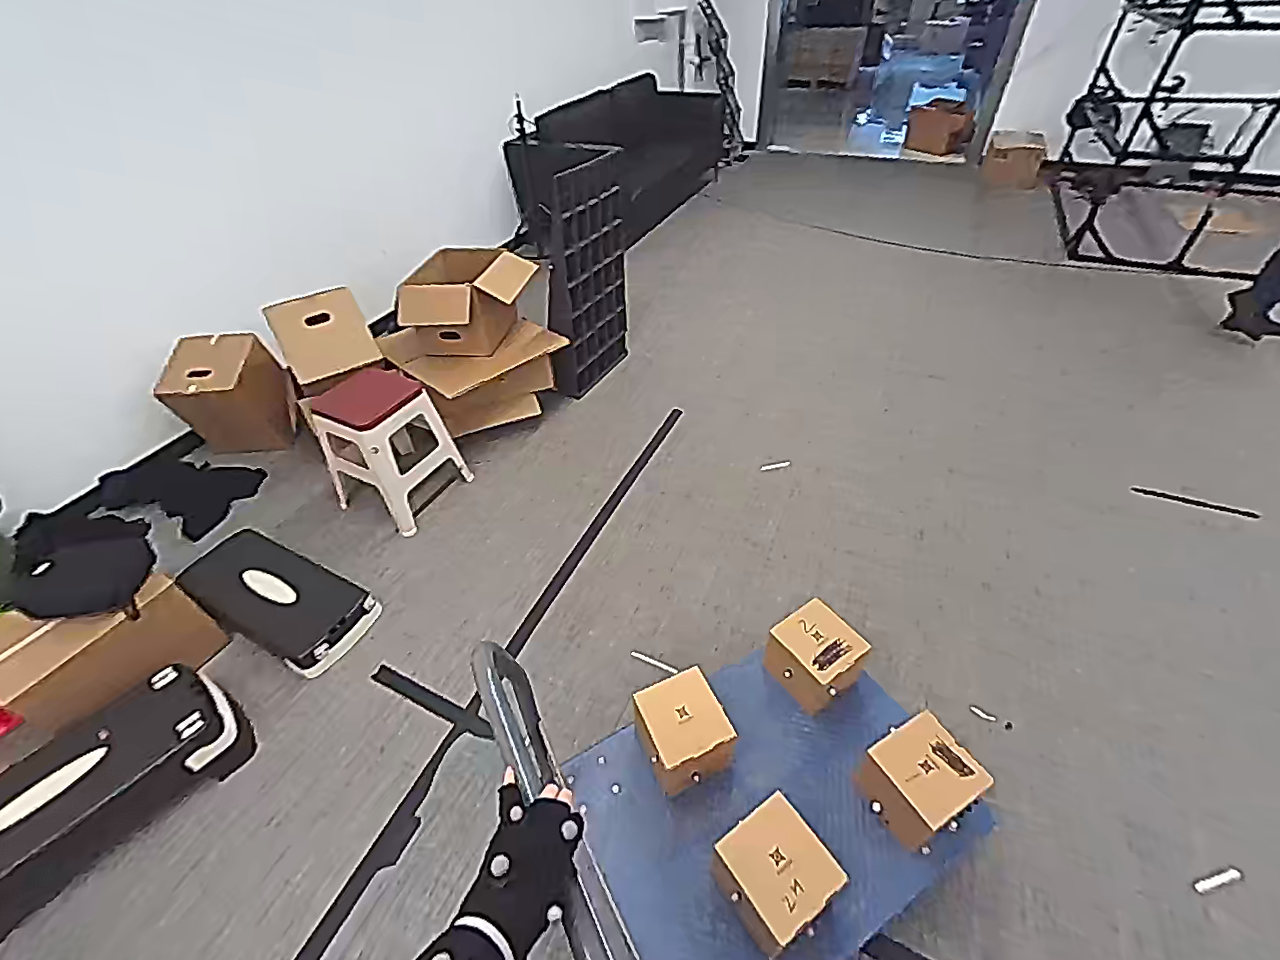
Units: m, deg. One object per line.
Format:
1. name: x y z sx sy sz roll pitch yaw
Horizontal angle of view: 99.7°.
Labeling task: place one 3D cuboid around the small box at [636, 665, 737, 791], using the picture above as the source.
1. small box: 0.096 0.557 1.216 0.168 0.176 0.179 -17 47 -17

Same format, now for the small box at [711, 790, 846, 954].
1. small box: 0.248 0.737 1.016 0.168 0.176 0.179 -25 47 -23

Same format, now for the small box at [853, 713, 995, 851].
1. small box: 0.576 0.626 1.122 0.179 0.176 0.168 -21 46 -18
